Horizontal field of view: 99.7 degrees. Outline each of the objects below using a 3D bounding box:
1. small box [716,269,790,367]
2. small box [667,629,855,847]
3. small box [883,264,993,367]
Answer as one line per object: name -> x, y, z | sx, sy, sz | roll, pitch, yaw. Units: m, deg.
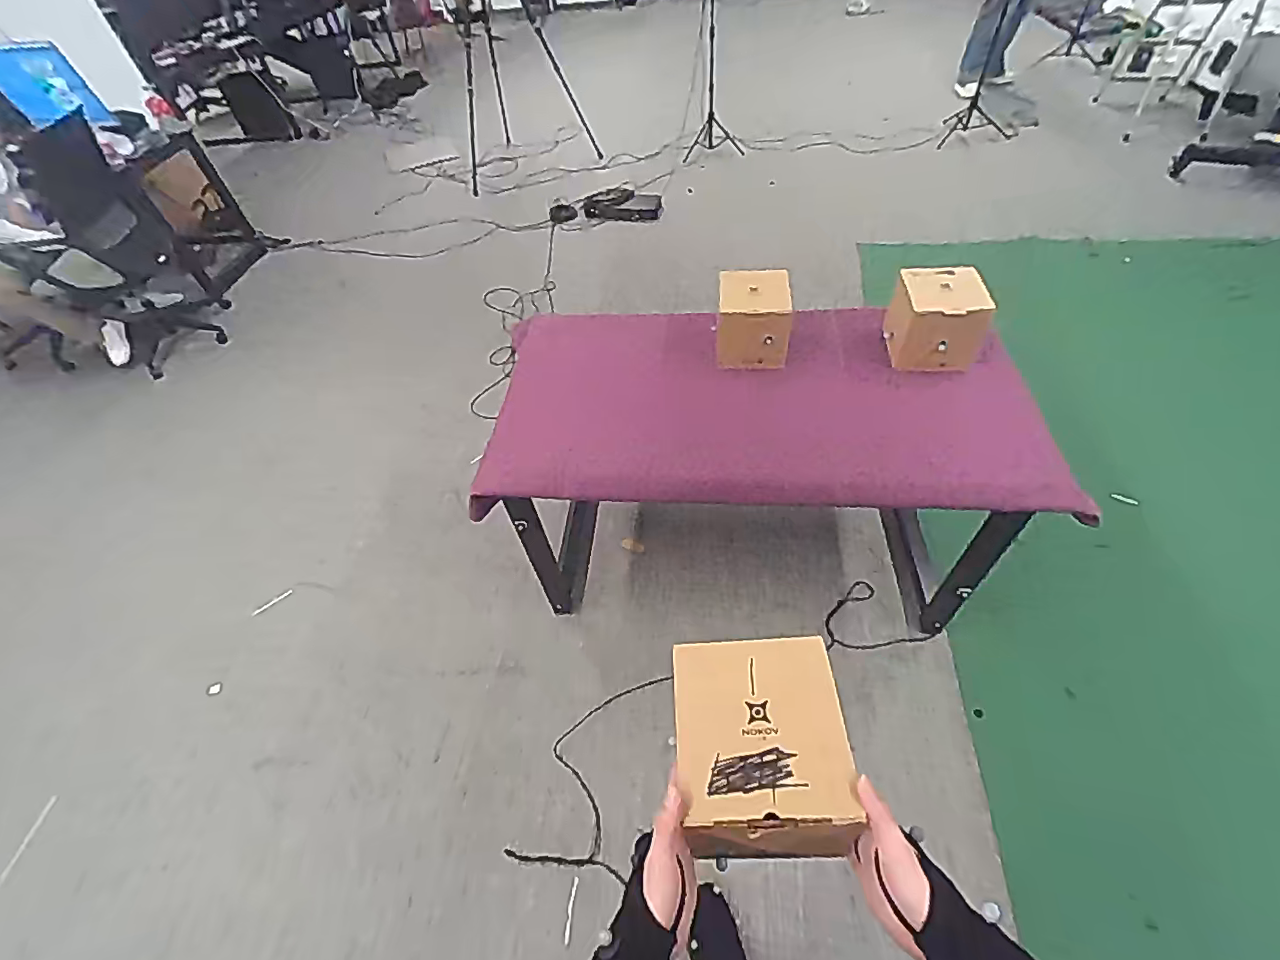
small box -> 0.274, -0.394, 1.331 | 0.168, 0.176, 0.179 | 1, 51, 7
small box -> 0.123, 0.287, 0.592 | 0.168, 0.176, 0.179 | -6, 45, 6
small box -> 0.684, -0.378, 1.264 | 0.168, 0.176, 0.179 | 2, 52, 9
